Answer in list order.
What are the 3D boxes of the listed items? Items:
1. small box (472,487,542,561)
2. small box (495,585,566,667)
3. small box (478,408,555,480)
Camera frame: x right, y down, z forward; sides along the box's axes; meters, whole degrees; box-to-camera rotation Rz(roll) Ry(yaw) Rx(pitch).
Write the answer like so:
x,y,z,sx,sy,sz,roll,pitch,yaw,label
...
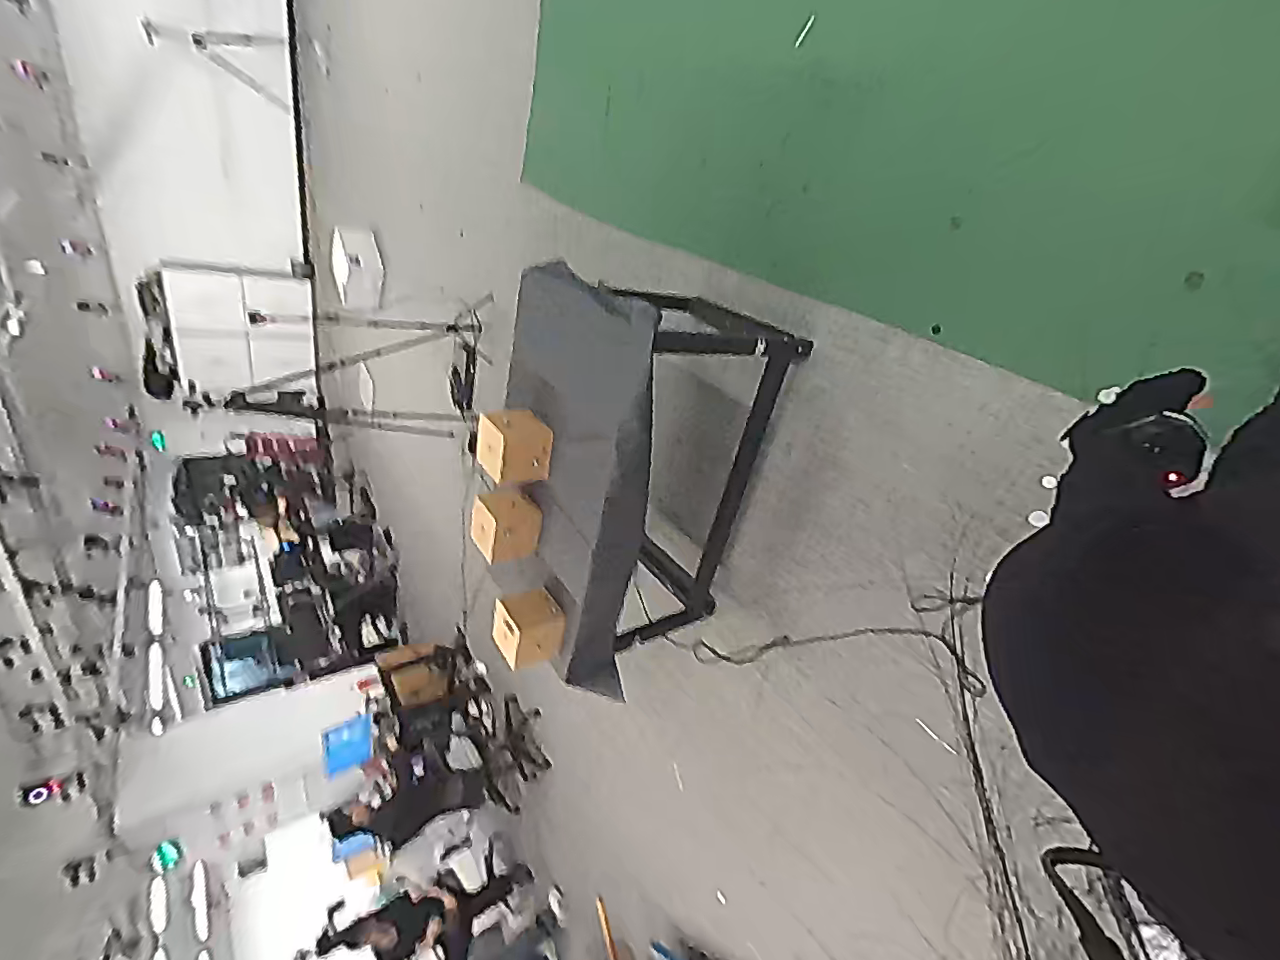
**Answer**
x,y,z,sx,sy,sz,roll,pitch,yaw,label
-0.444,0.140,1.814,0.168,0.176,0.179,41,128,38,small box
-0.359,0.472,1.779,0.168,0.176,0.179,40,128,41,small box
-0.388,-0.118,1.694,0.179,0.176,0.168,39,126,40,small box
